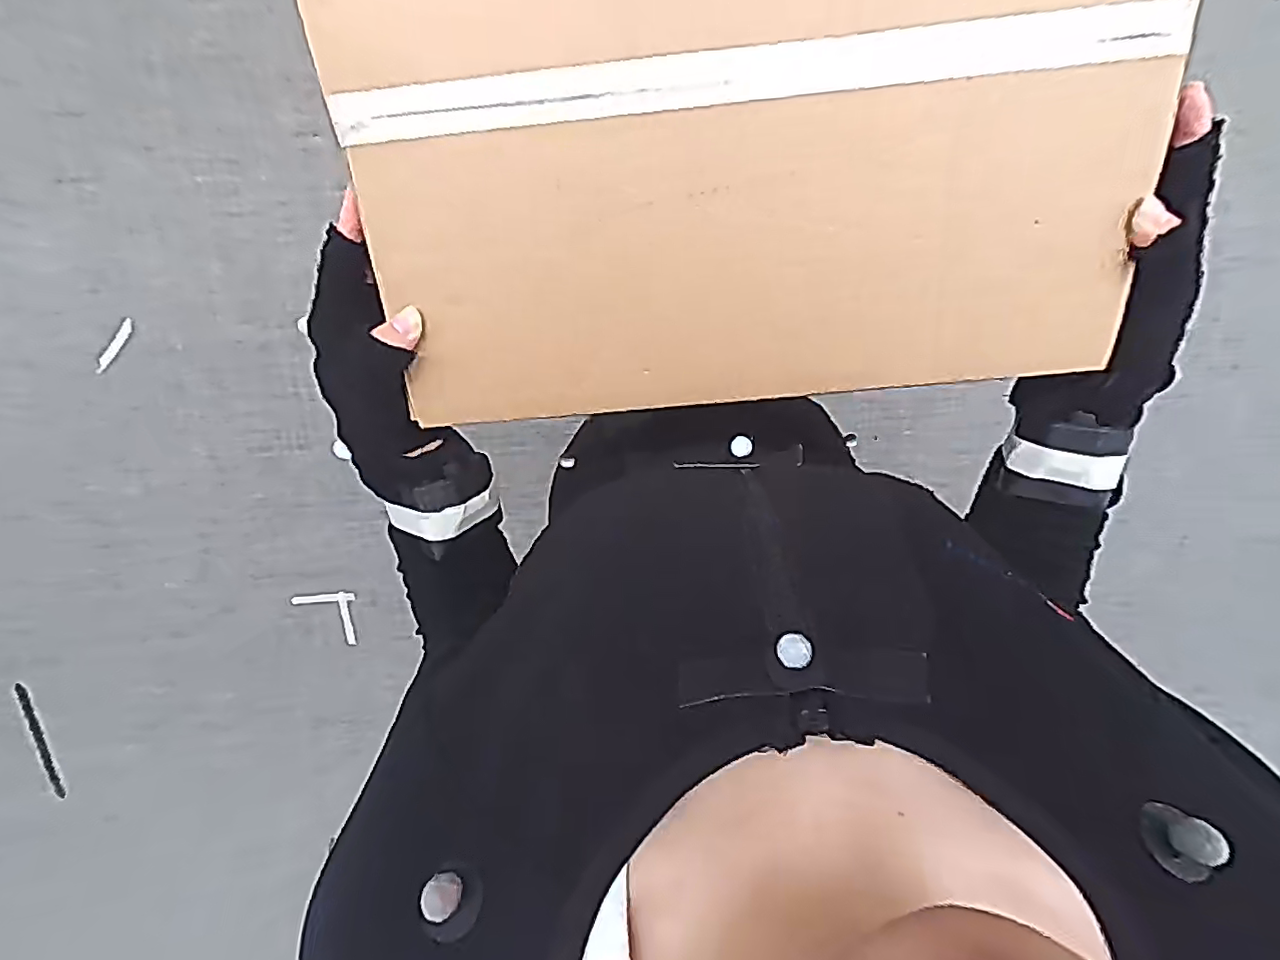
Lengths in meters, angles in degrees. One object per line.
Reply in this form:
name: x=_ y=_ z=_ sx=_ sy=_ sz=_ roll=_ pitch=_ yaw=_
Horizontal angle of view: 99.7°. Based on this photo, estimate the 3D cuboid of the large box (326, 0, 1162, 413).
large box: x=0.049 y=-0.257 z=0.407 sx=0.408 sy=0.320 sz=0.320 roll=-5 pitch=114 yaw=2
